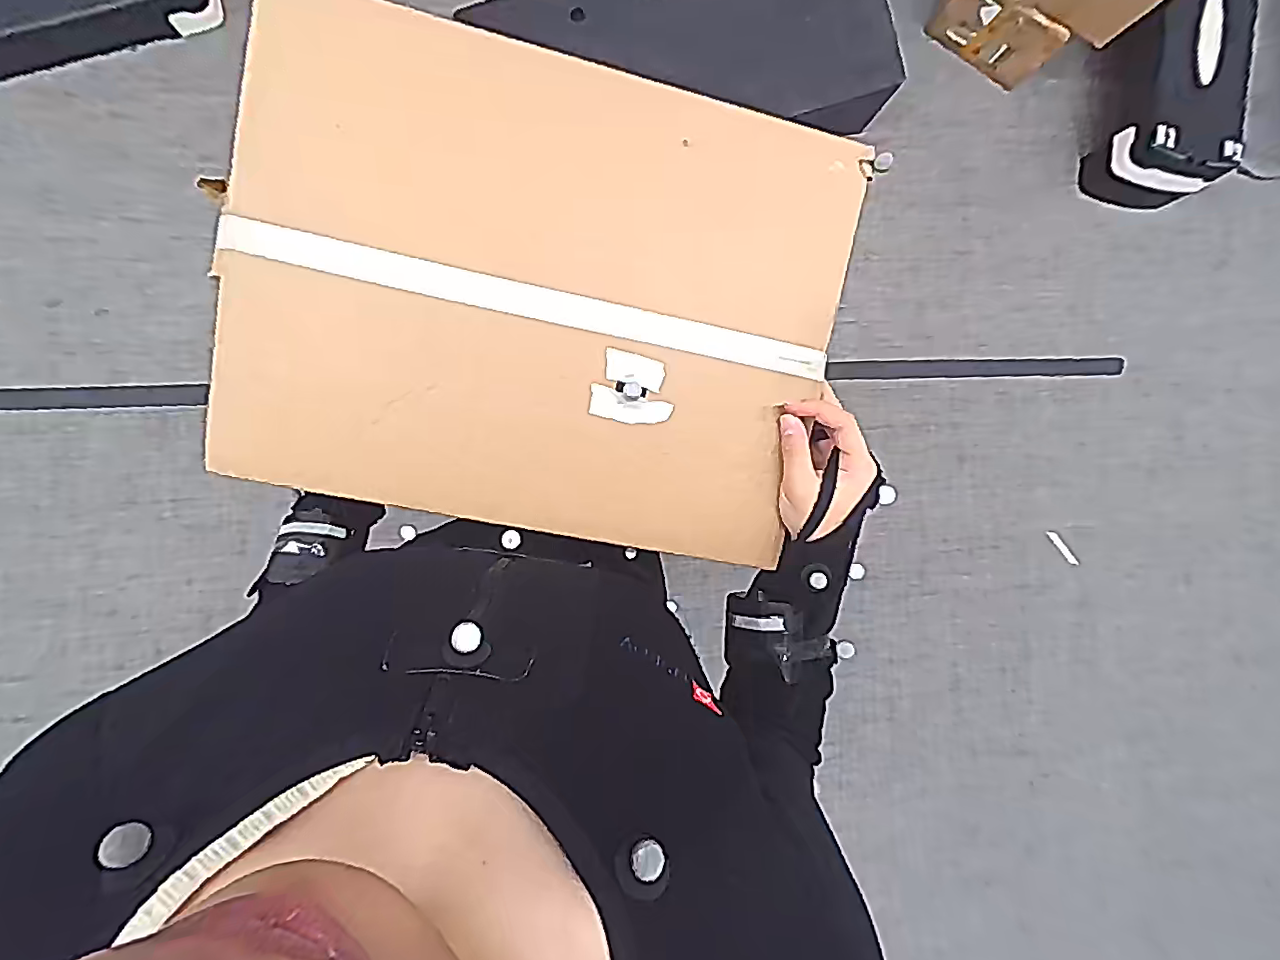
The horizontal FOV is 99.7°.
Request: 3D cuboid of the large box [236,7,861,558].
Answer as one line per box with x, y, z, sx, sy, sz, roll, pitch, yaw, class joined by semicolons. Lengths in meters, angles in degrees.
-0.077;-0.136;0.526;0.408;0.320;0.320;10;97;-9;large box
